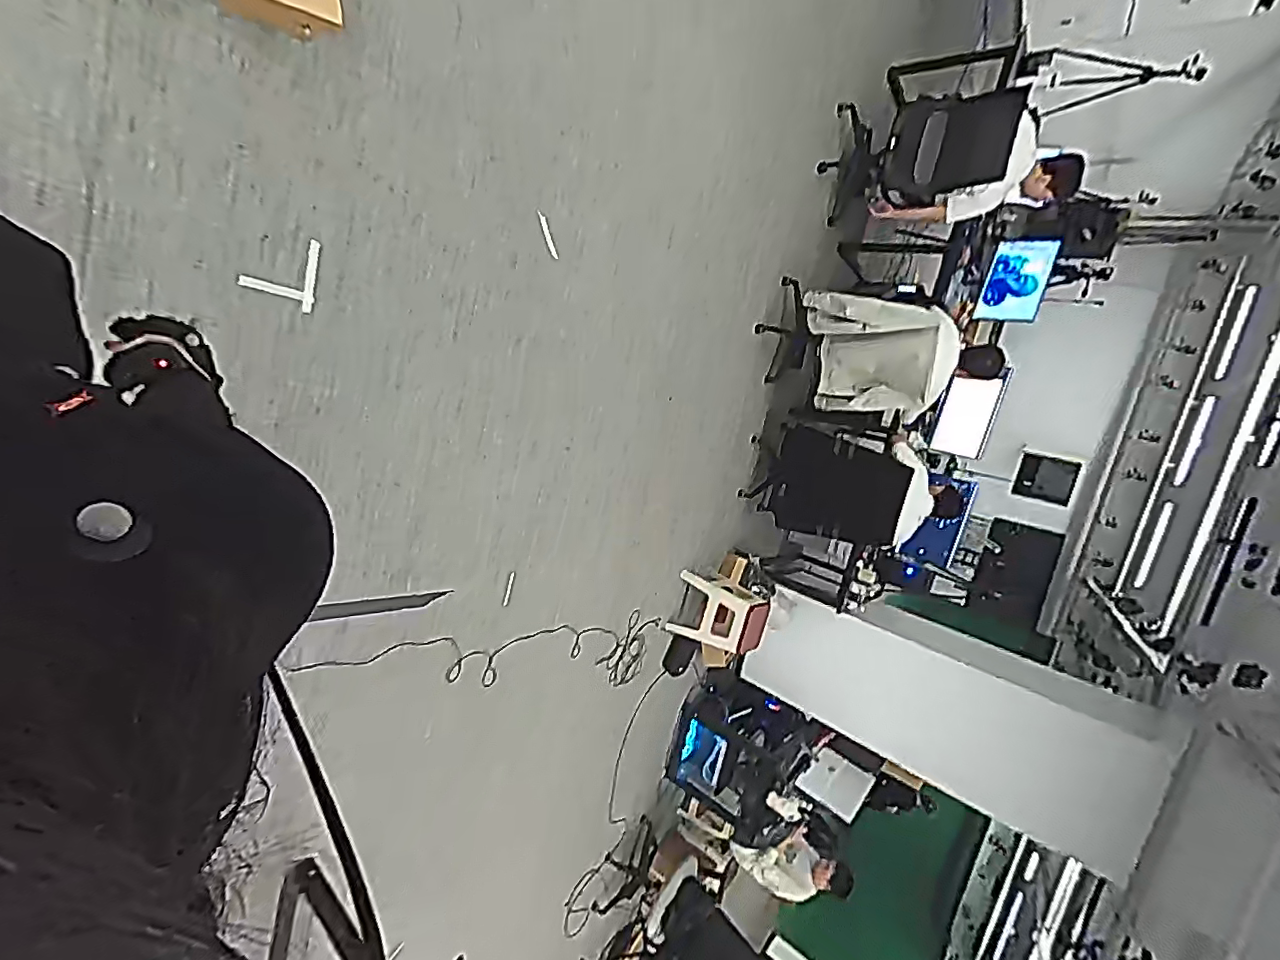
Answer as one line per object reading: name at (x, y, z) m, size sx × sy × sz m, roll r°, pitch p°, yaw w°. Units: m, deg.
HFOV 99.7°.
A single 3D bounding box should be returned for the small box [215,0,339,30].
small box at (-0.728, -1.022, 1.062) m, size 0.179 × 0.176 × 0.168 m, roll -21°, pitch 121°, yaw -47°
